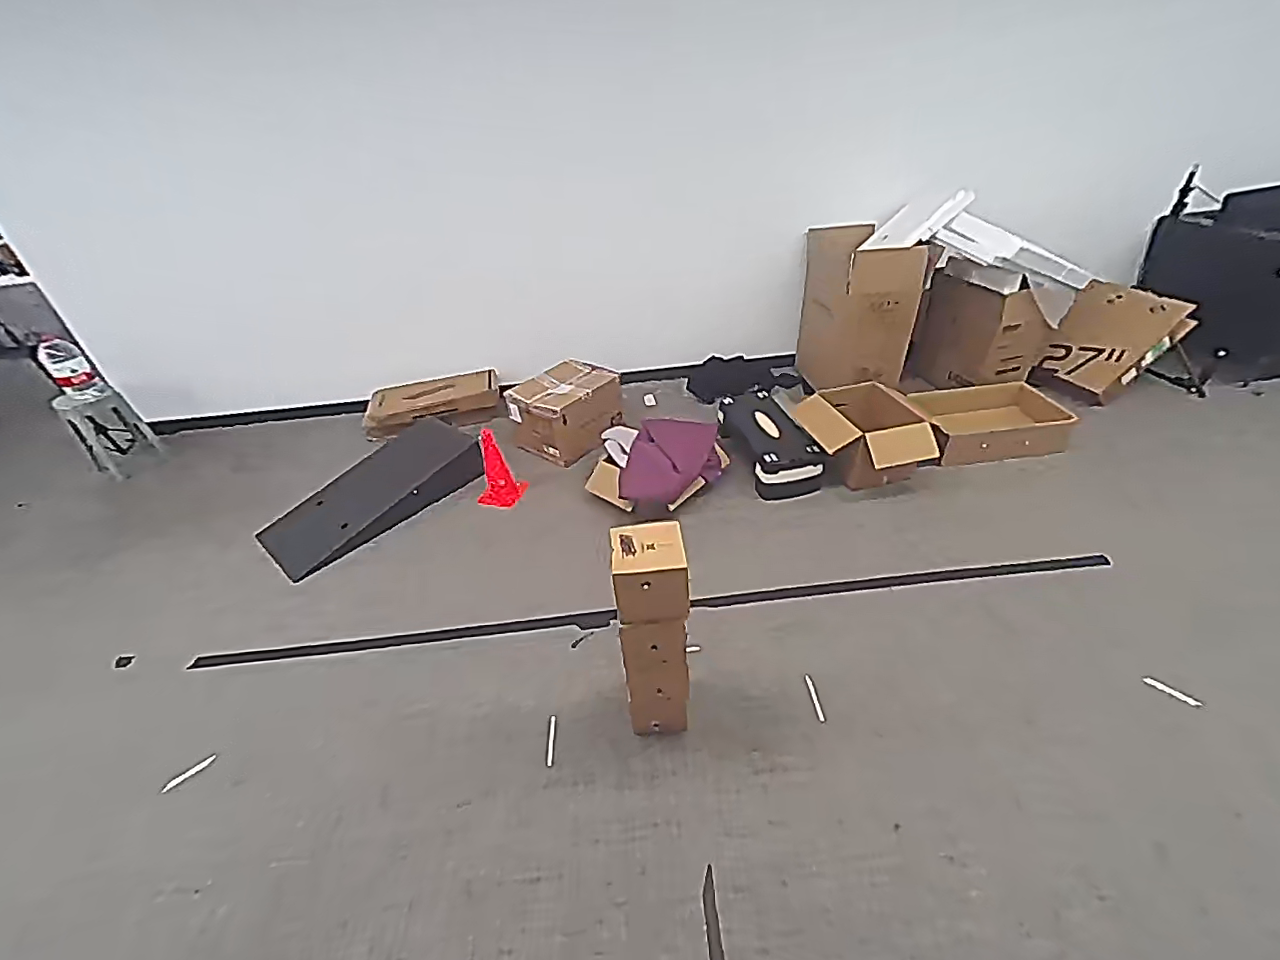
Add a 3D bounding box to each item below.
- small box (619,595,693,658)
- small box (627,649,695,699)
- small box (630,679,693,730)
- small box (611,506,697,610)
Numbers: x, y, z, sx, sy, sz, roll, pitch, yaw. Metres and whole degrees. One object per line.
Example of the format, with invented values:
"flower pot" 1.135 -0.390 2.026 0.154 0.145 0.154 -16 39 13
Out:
"small box" 0.039 0.322 1.339 0.168 0.176 0.179 -6 36 1
"small box" 0.053 0.453 1.436 0.168 0.176 0.179 -7 36 1
"small box" 0.058 0.582 1.540 0.168 0.176 0.179 -7 37 0
"small box" 0.032 0.182 1.250 0.179 0.176 0.168 -6 36 -1
